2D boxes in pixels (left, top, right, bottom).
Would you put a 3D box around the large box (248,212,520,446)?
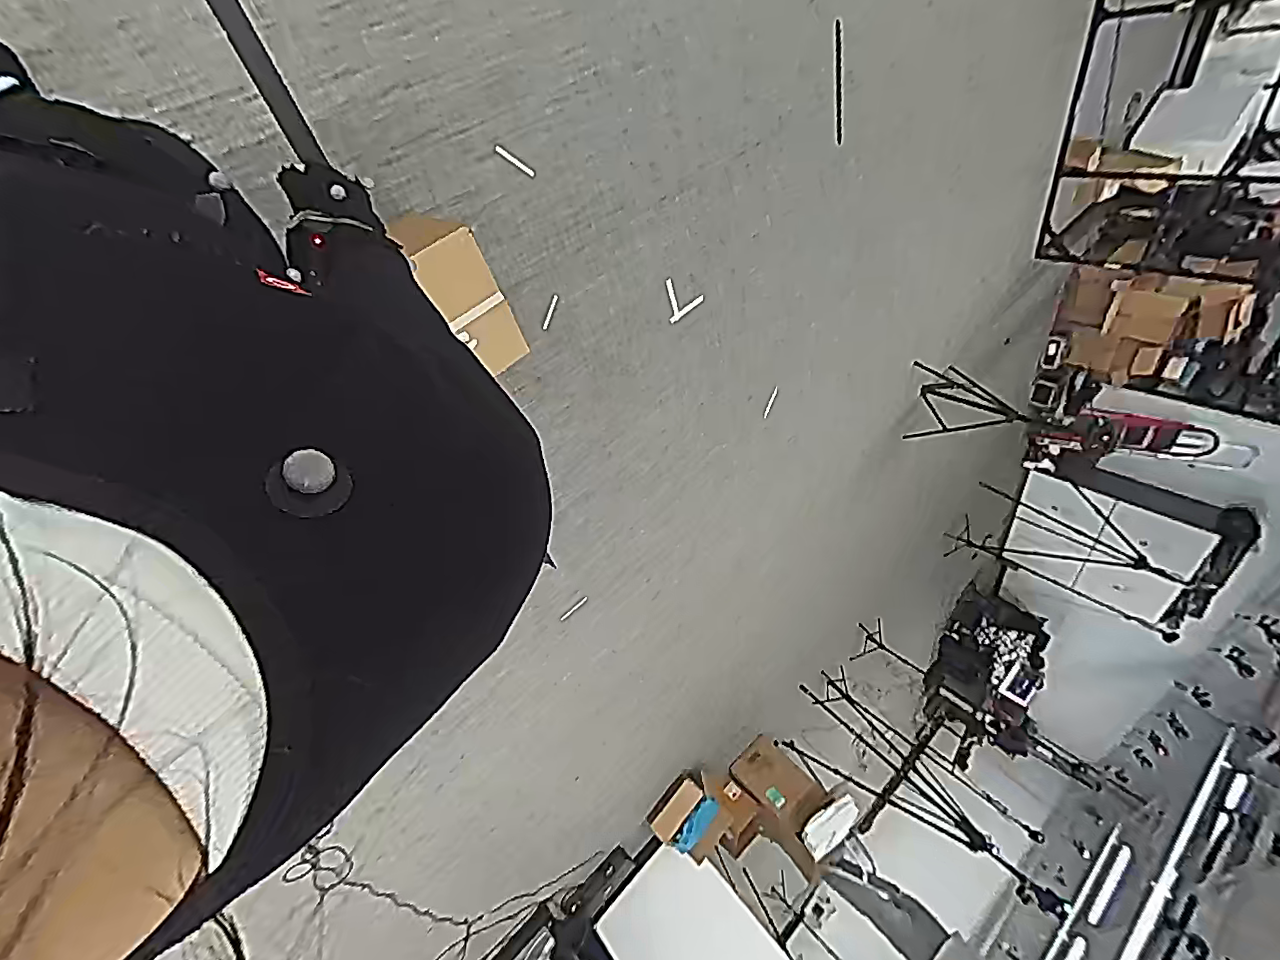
[{"bbox_3d":[-0.562,-0.352,1.217,0.408,0.320,0.320,-42,138,-20],"label":"large box"}]
